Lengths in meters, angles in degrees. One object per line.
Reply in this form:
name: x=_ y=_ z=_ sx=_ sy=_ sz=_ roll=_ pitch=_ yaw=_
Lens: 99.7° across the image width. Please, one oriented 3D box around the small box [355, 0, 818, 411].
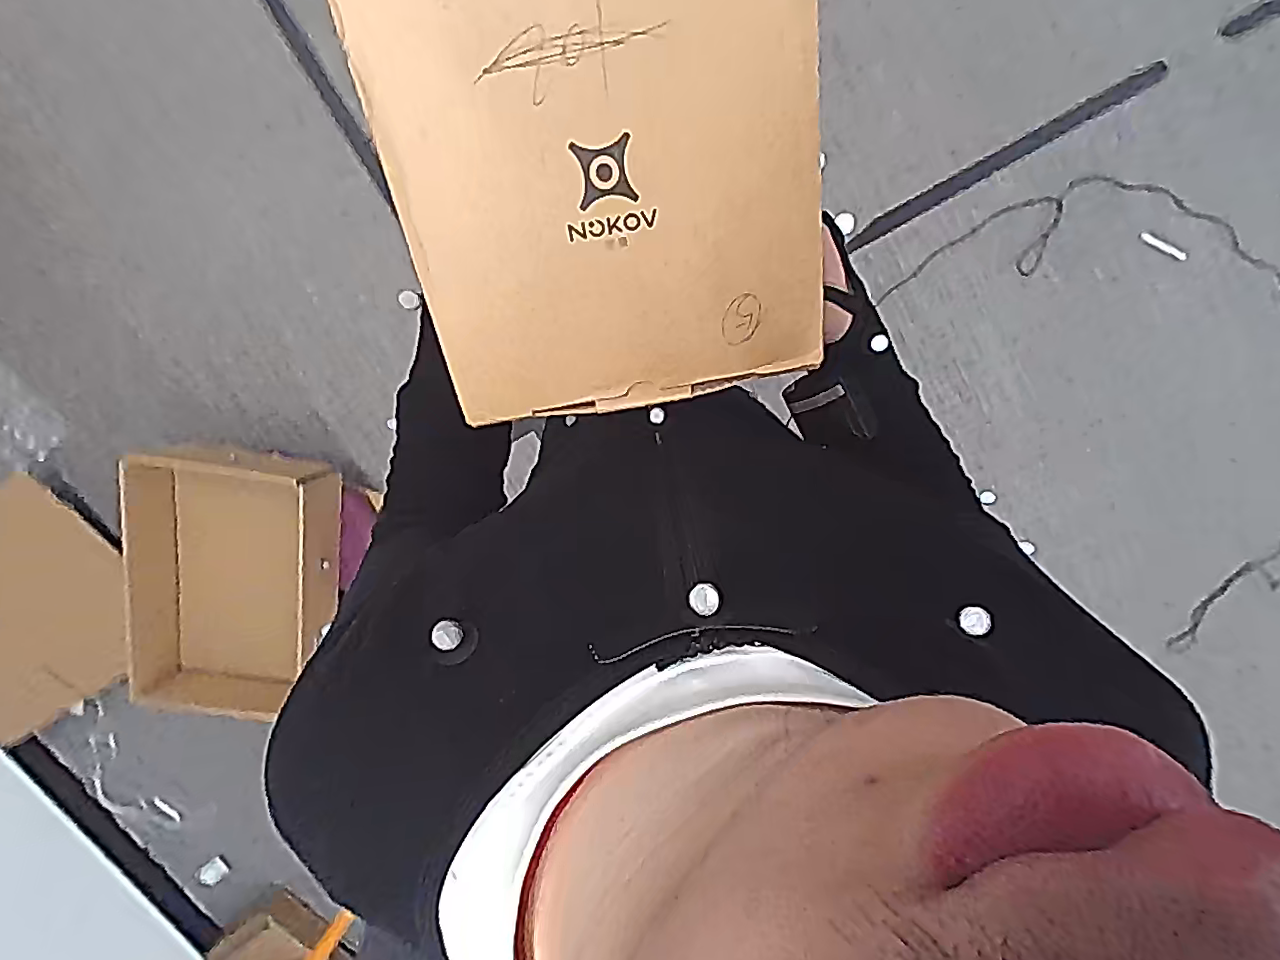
small box: x=-0.012 y=-0.156 z=0.291 sx=0.168 sy=0.176 sz=0.179 roll=-10 pitch=115 yaw=2
